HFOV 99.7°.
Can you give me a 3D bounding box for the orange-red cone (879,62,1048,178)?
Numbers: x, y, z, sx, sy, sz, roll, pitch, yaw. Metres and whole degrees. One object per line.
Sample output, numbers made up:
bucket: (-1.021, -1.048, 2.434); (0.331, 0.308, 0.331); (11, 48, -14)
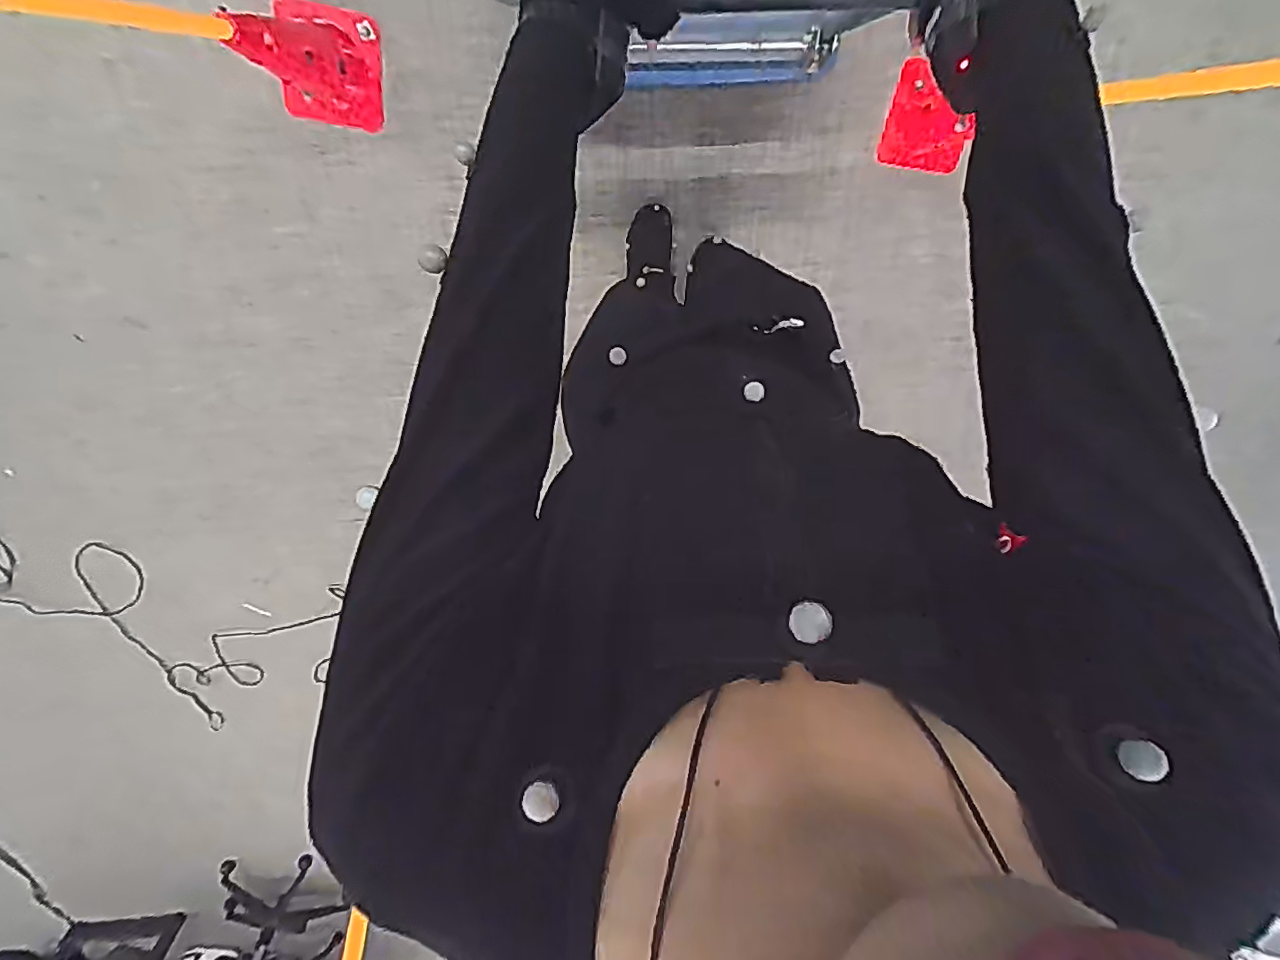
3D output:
orange-red cone: (0.661, -0.713, 1.059); (0.198, 0.360, 0.199); (7, 120, -7)
